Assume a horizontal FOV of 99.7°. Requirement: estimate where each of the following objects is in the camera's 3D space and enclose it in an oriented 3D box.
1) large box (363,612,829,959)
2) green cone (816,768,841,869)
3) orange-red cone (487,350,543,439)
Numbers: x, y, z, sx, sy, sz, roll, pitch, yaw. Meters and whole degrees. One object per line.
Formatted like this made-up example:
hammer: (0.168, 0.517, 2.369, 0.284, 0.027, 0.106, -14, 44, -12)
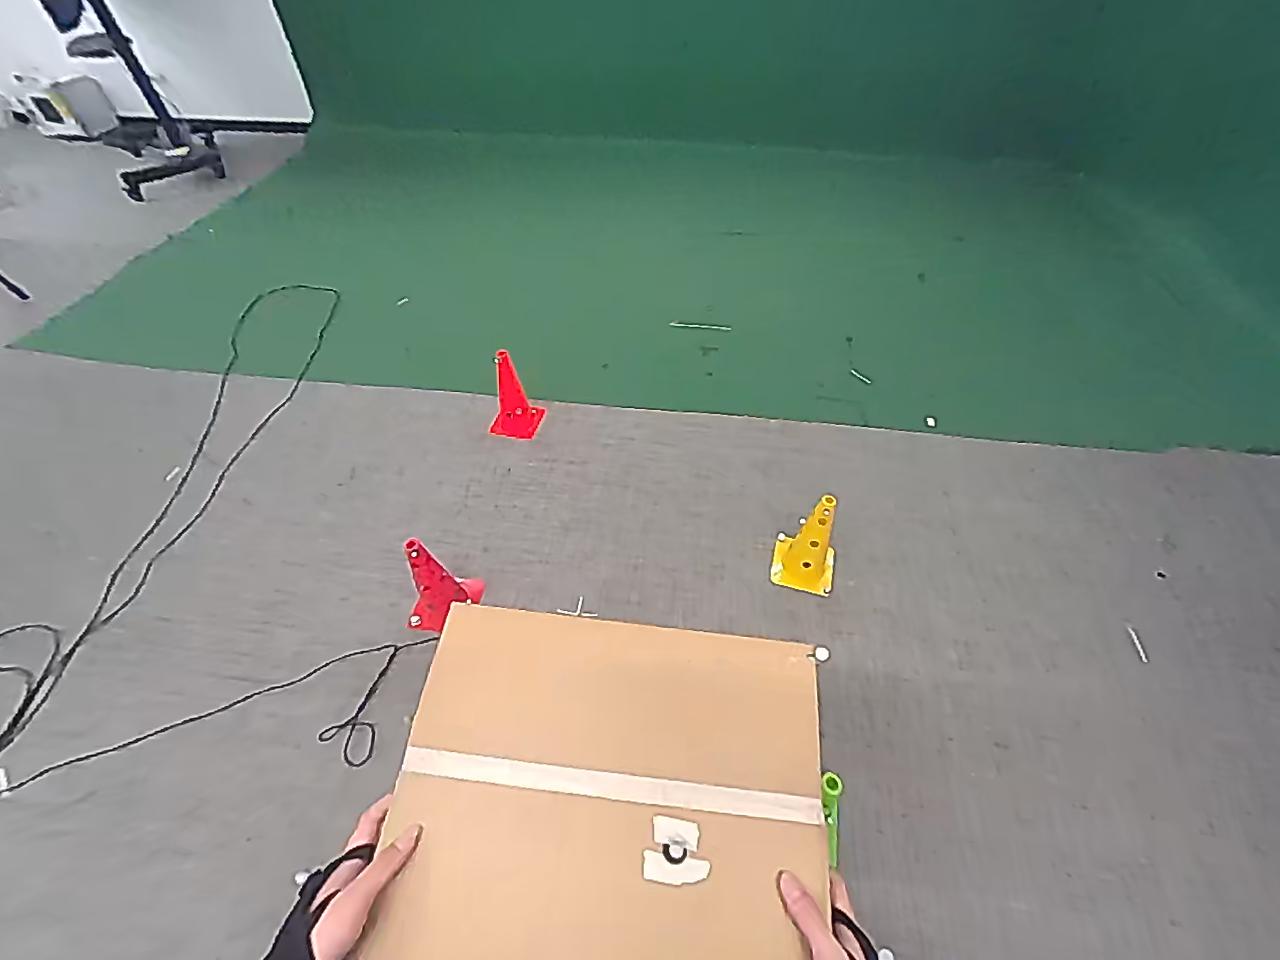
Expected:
large box: (-0.030, 0.373, 0.653, 0.408, 0.320, 0.320, 6, 59, 2)
green cone: (0.399, 0.741, 1.249, 0.200, 0.368, 0.202, 10, 49, 8)
orange-red cone: (-0.537, -0.365, 2.182, 0.199, 0.360, 0.198, 10, 50, 11)
